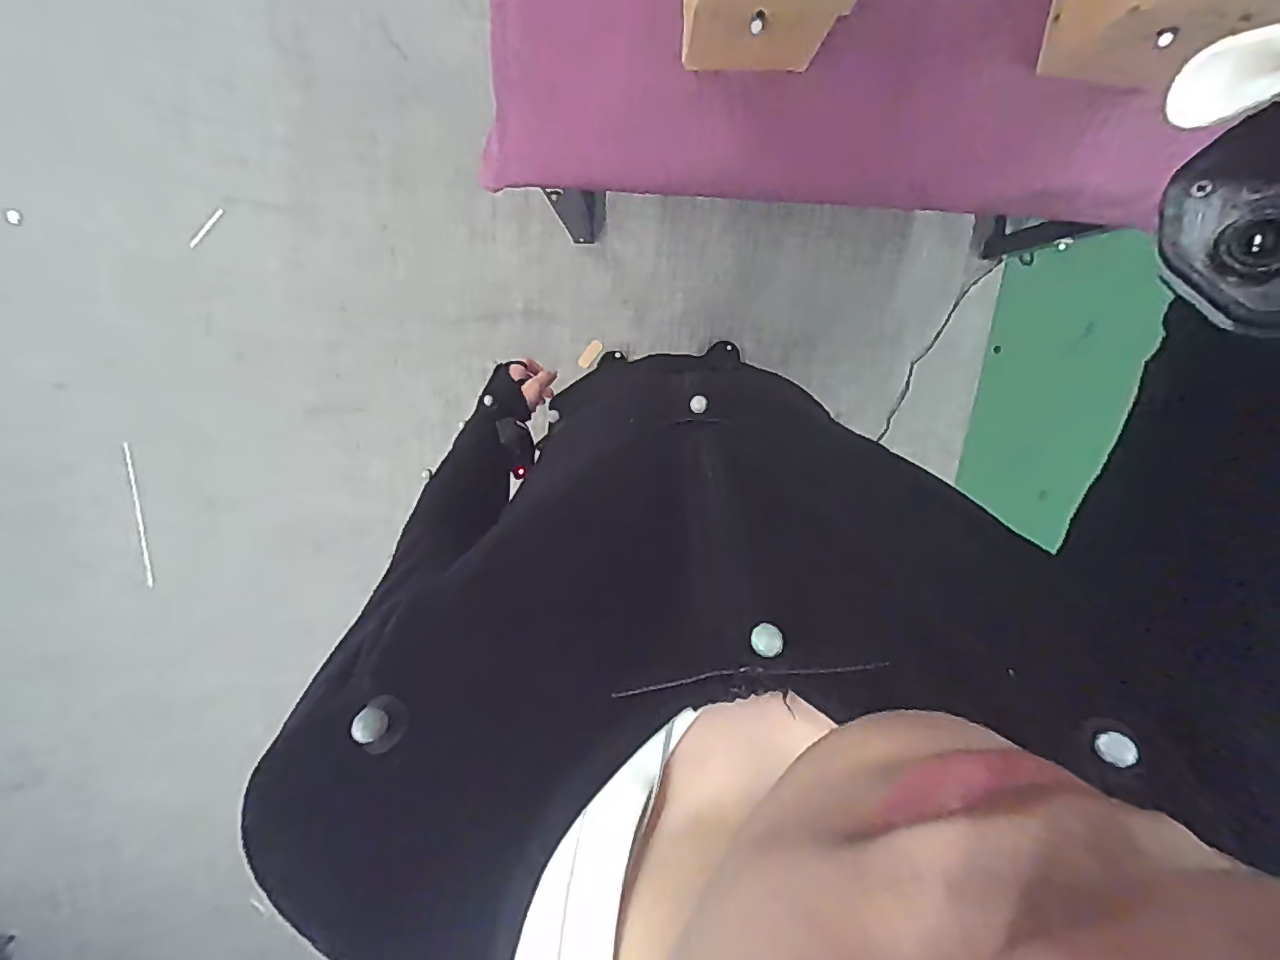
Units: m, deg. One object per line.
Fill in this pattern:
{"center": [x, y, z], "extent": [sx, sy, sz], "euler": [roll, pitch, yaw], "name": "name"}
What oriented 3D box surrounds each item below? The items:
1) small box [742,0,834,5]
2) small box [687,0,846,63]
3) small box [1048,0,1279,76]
{"center": [0.154, -0.591, 0.507], "extent": [0.179, 0.176, 0.168], "euler": [3, 104, 1], "name": "small box"}
{"center": [0.154, -0.647, 0.664], "extent": [0.179, 0.176, 0.168], "euler": [1, 105, 1], "name": "small box"}
{"center": [0.652, -0.627, 0.657], "extent": [0.179, 0.176, 0.168], "euler": [6, 104, -1], "name": "small box"}
